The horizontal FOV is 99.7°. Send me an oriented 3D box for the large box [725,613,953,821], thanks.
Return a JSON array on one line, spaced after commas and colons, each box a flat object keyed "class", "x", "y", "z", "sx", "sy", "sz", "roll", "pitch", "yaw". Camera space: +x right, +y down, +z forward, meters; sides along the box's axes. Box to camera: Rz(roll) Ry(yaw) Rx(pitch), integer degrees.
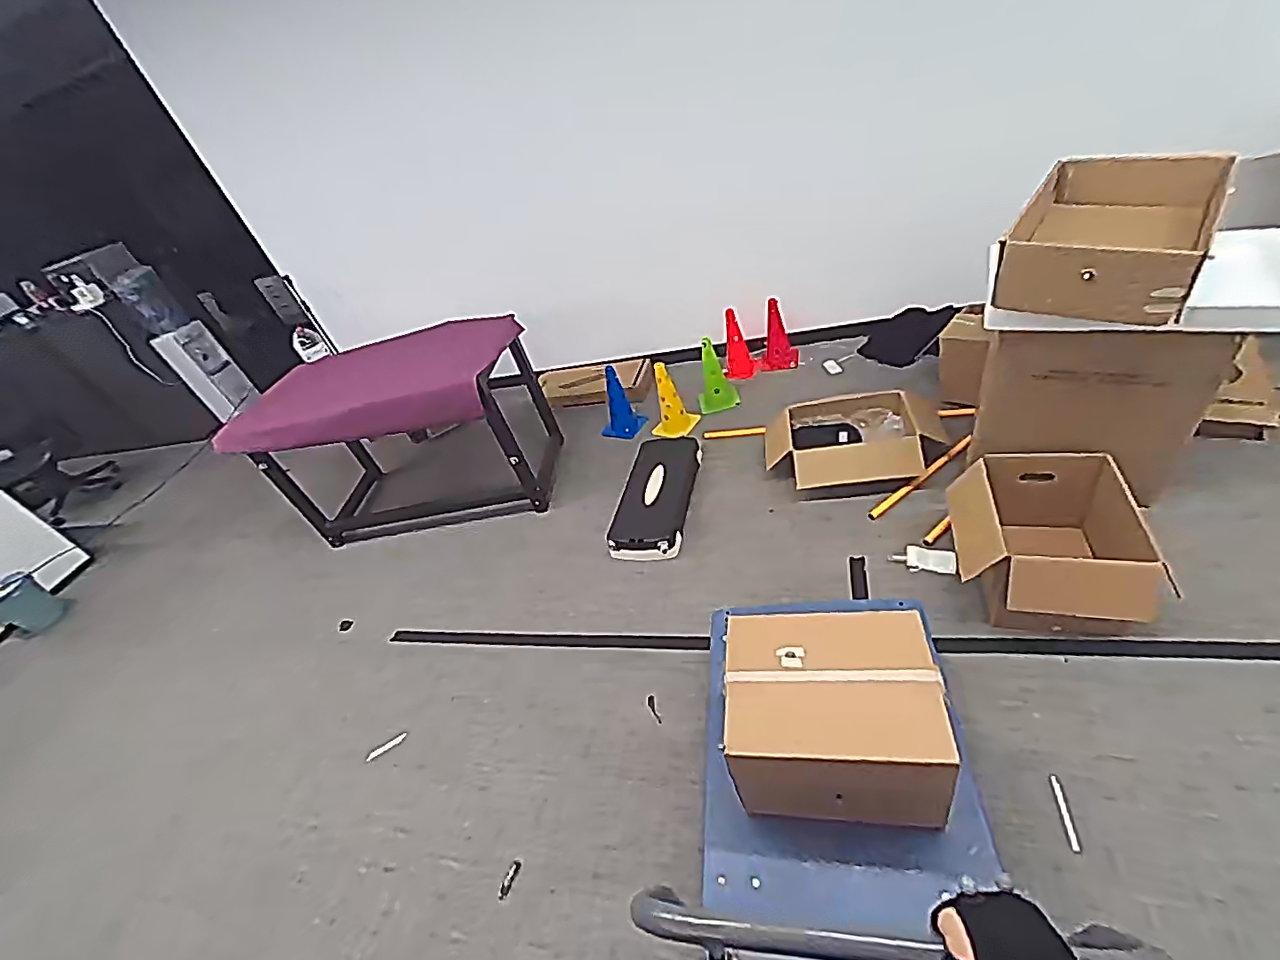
[{"class": "large box", "x": 0.413, "y": 0.520, "z": 1.184, "sx": 0.408, "sy": 0.320, "sz": 0.320, "roll": -8, "pitch": 38, "yaw": 16}]
